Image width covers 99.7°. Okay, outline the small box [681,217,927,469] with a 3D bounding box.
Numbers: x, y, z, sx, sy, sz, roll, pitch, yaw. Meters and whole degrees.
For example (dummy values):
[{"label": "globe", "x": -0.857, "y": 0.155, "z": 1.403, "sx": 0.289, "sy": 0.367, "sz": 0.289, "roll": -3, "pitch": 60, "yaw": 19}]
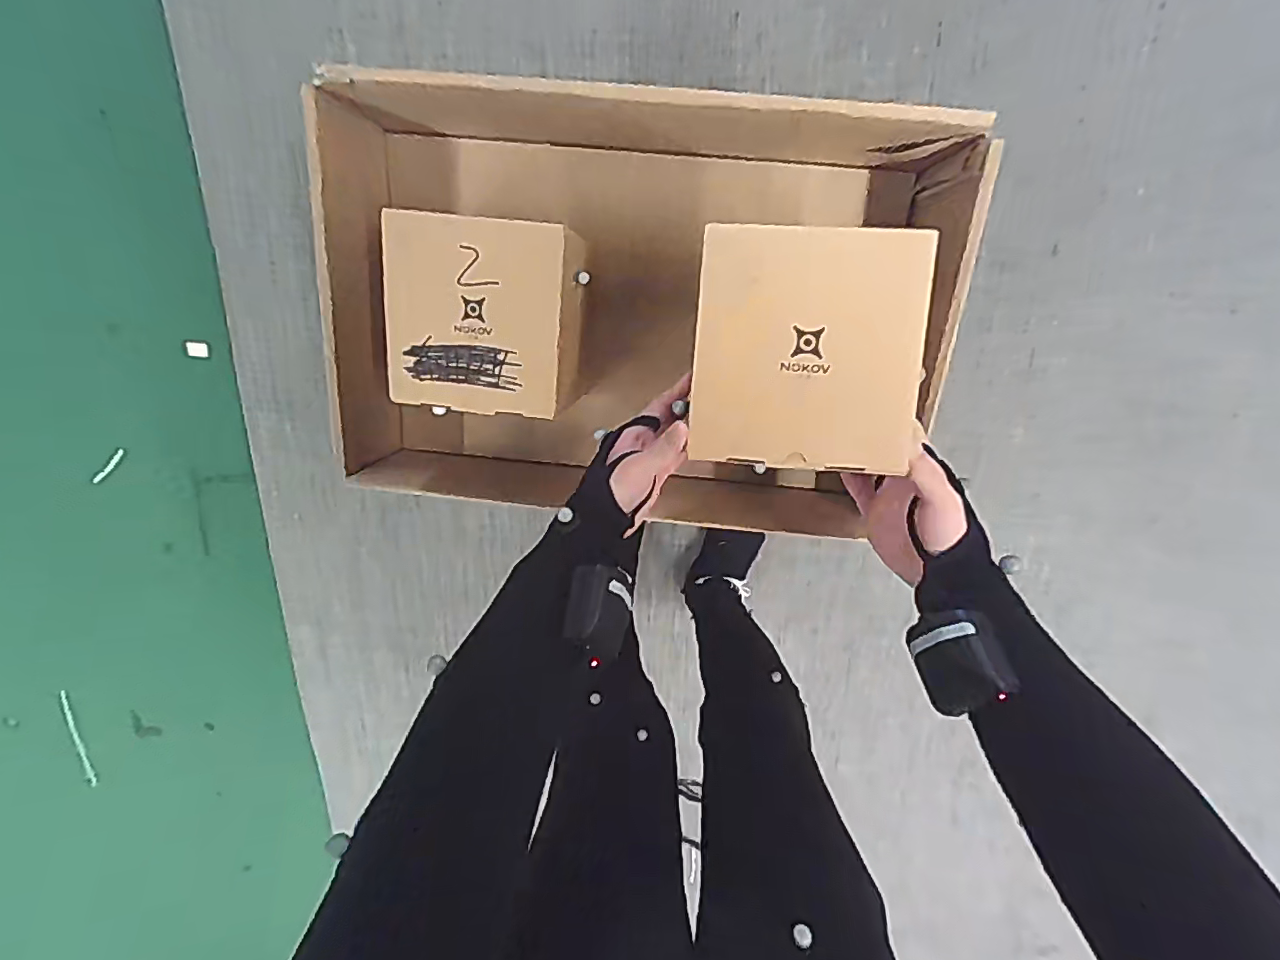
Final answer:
[{"label": "small box", "x": 0.124, "y": -0.110, "z": 0.476, "sx": 0.168, "sy": 0.176, "sz": 0.179, "roll": 4, "pitch": 98, "yaw": 5}]
